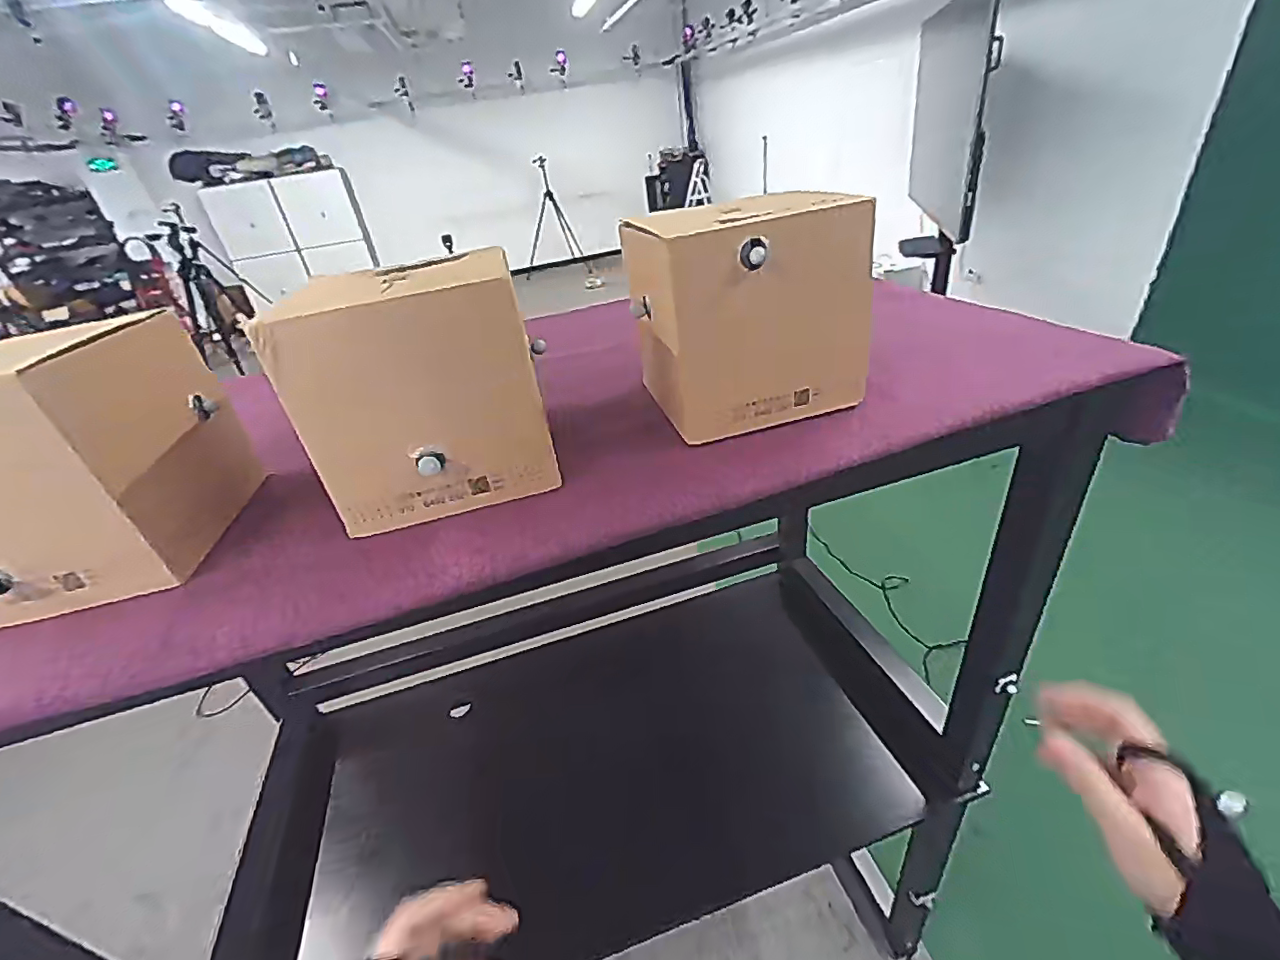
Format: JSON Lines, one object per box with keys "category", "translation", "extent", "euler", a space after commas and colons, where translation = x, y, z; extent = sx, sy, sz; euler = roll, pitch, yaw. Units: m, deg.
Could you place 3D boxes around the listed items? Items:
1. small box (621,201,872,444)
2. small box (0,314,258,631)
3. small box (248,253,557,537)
{"category": "small box", "translation": [0.088, -0.152, 0.502], "extent": [0.168, 0.176, 0.179], "euler": [-14, 30, -7]}
{"category": "small box", "translation": [-0.438, -0.011, 0.414], "extent": [0.168, 0.176, 0.179], "euler": [-14, 32, -6]}
{"category": "small box", "translation": [-0.173, -0.079, 0.454], "extent": [0.168, 0.176, 0.179], "euler": [-14, 32, -7]}
